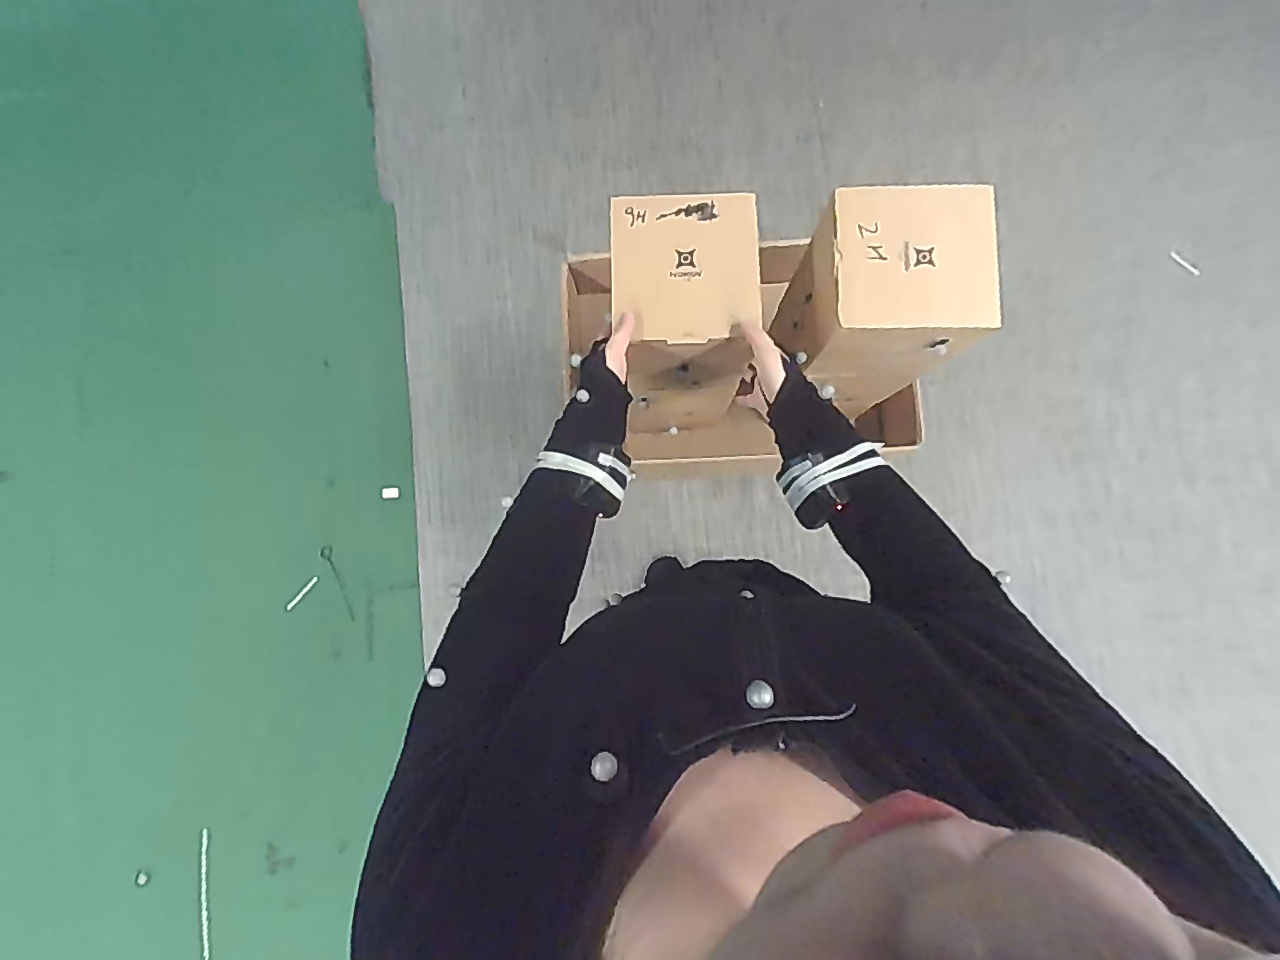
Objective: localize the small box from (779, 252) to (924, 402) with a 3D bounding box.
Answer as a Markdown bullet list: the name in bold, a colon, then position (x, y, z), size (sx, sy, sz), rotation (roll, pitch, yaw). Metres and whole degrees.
- **small box**: position (0.312, -0.225, 0.832), size (0.168, 0.176, 0.179), rotation (-1, 84, 4)
